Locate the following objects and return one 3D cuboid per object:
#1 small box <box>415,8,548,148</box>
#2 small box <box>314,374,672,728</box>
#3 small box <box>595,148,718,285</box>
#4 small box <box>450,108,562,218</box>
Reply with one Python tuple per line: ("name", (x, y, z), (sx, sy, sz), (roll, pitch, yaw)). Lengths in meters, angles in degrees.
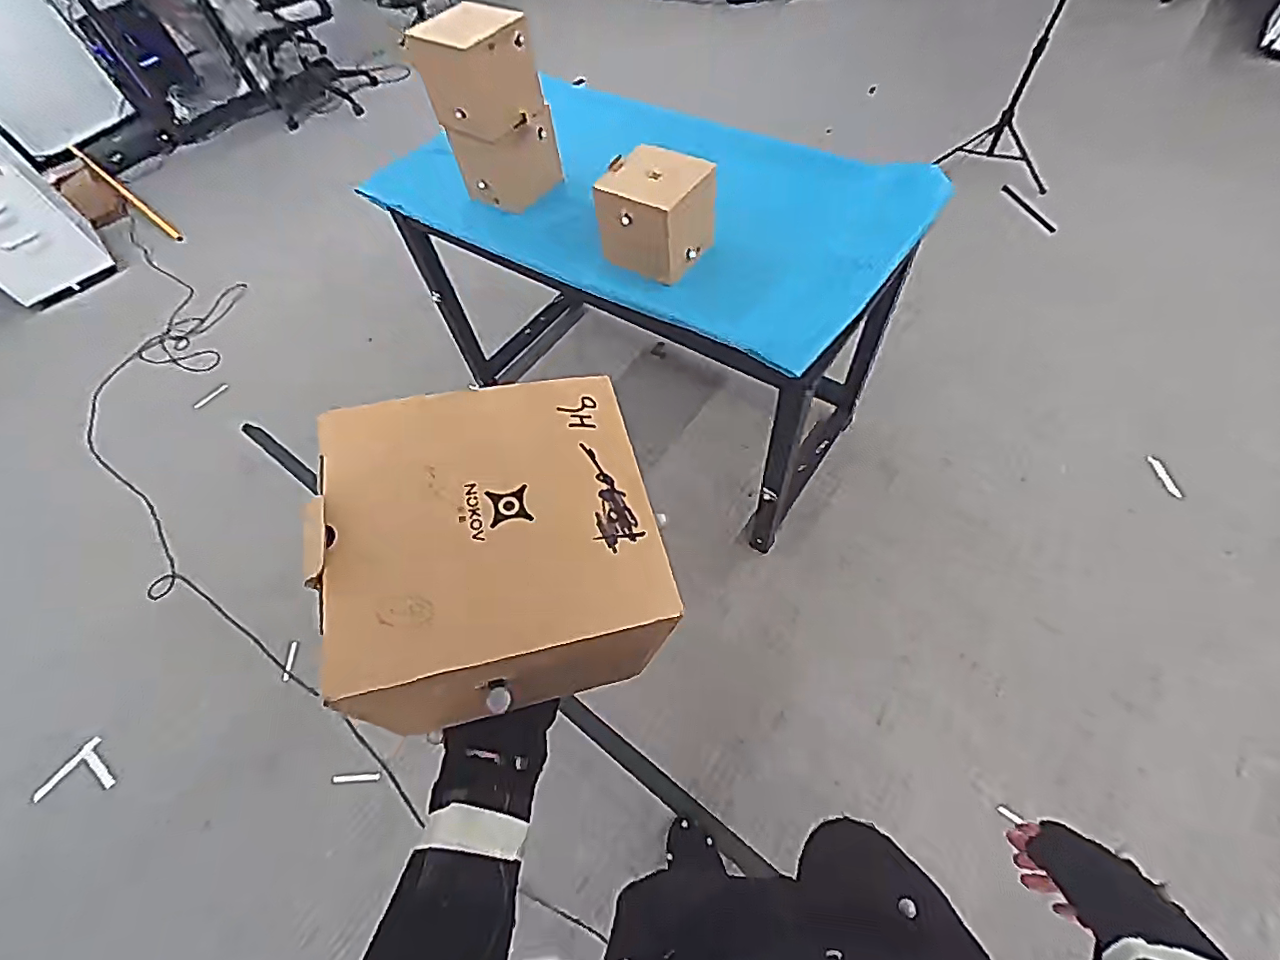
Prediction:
("small box", (-0.322, -0.826, 1.109), (0.179, 0.176, 0.168), (31, 67, 22))
("small box", (-0.096, 0.055, 0.373), (0.179, 0.176, 0.168), (-13, 62, -16))
("small box", (0.039, -0.518, 1.072), (0.179, 0.176, 0.168), (30, 67, 22))
("small box", (-0.300, -0.750, 1.256), (0.168, 0.176, 0.179), (32, 69, 24))
